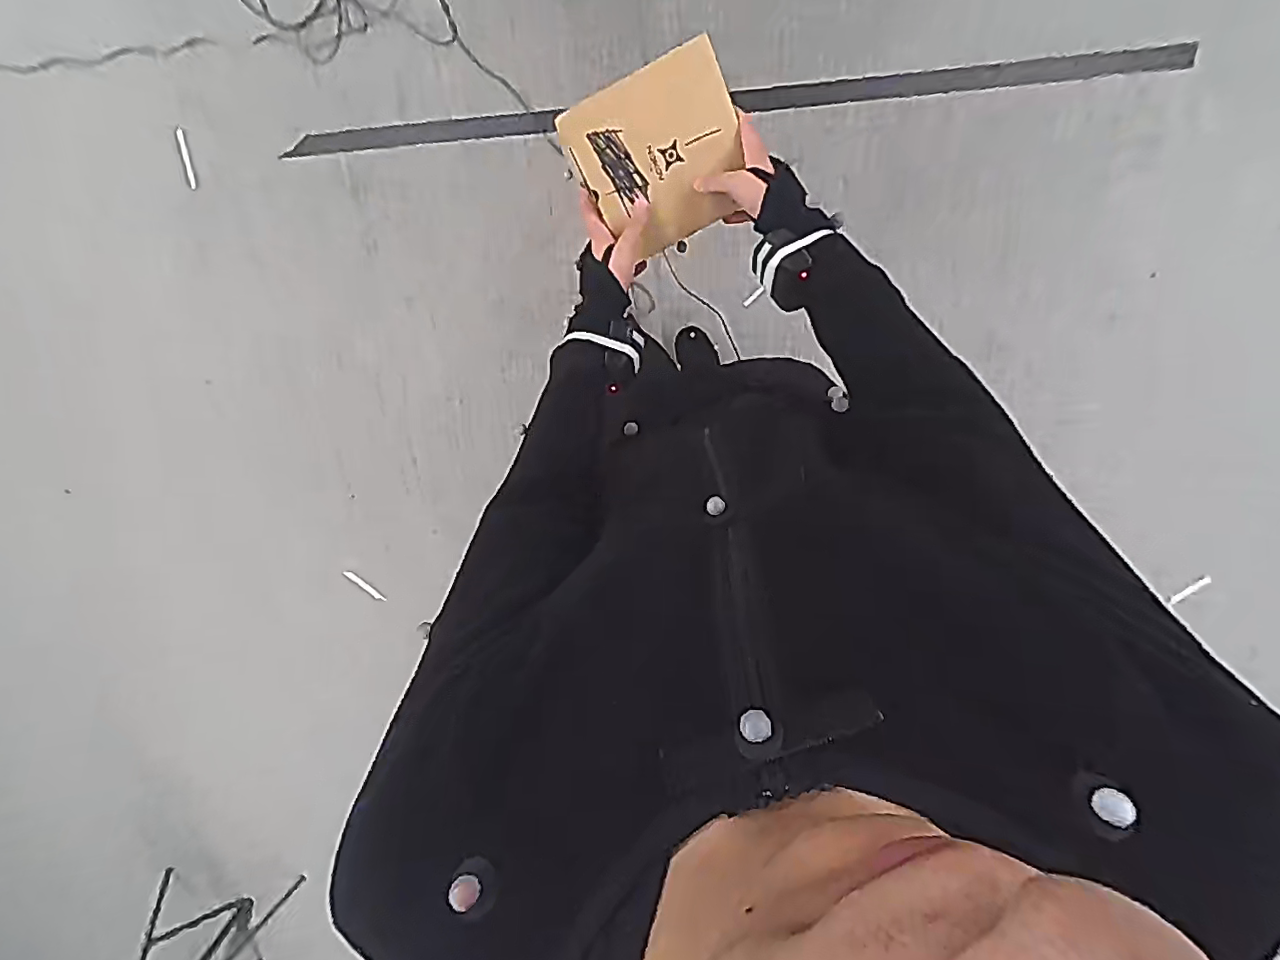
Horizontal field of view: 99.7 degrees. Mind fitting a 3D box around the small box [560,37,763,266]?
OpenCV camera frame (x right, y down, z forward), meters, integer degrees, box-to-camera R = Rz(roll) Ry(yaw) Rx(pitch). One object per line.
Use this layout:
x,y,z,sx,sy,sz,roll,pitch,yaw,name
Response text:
0.021,-0.374,0.656,0.179,0.176,0.168,-26,111,4,small box
